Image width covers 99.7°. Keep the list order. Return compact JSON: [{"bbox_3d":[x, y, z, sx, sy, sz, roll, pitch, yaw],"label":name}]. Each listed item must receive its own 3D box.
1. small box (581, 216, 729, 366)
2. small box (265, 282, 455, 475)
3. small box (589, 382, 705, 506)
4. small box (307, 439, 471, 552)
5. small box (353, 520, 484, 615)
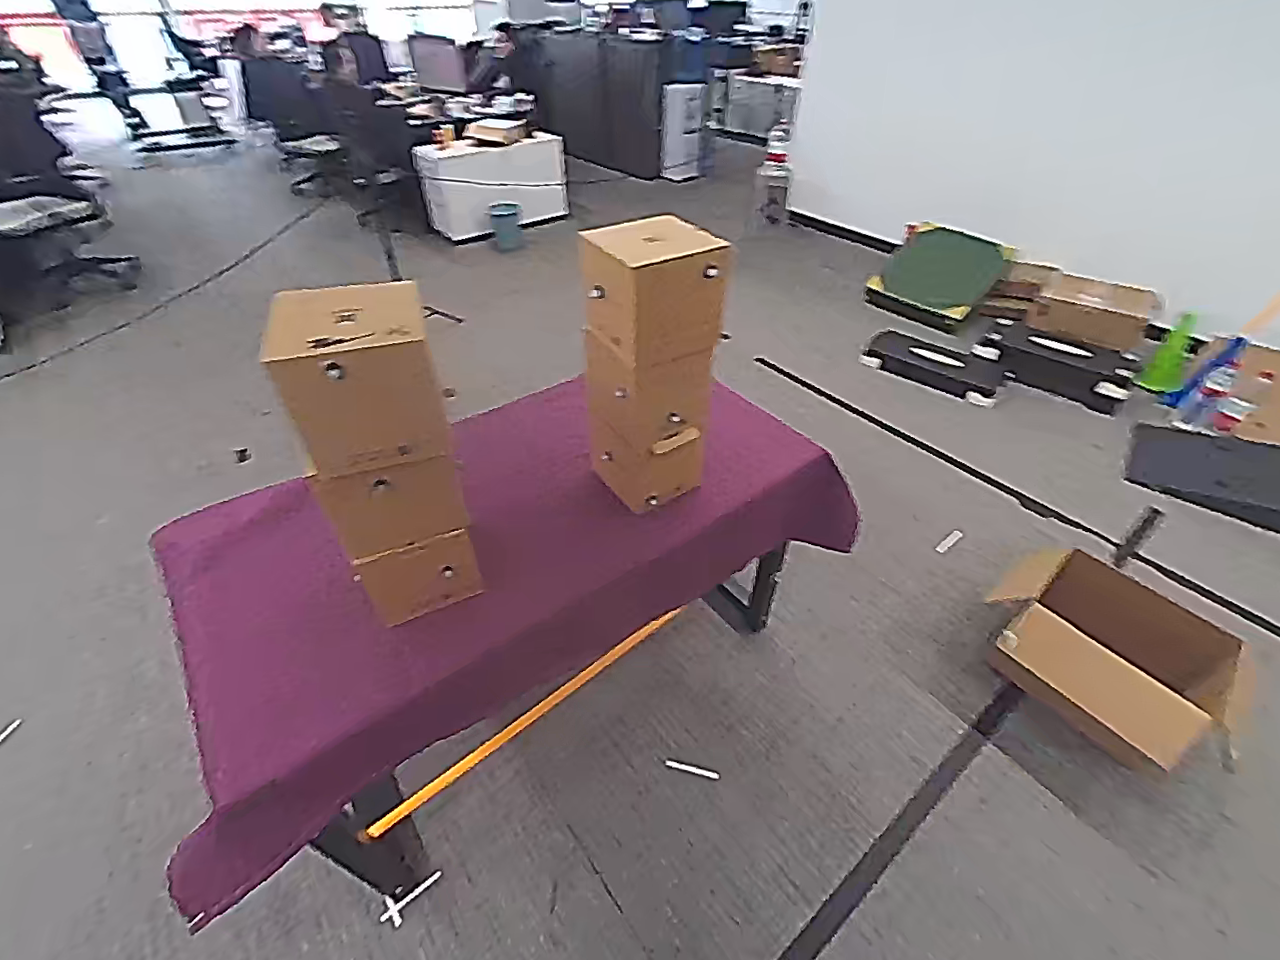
[{"bbox_3d":[0.021,-0.307,0.879,0.179,0.176,0.168,-23,48,-23],"label":"small box"},{"bbox_3d":[-0.343,-0.133,0.692,0.168,0.176,0.179,-13,44,-16],"label":"small box"},{"bbox_3d":[0.013,-0.068,1.102,0.168,0.176,0.179,-25,47,-25],"label":"small box"},{"bbox_3d":[-0.371,-0.018,0.808,0.179,0.176,0.168,-17,46,-19],"label":"small box"},{"bbox_3d":[-0.376,0.105,0.916,0.168,0.176,0.179,-18,46,-20],"label":"small box"}]
